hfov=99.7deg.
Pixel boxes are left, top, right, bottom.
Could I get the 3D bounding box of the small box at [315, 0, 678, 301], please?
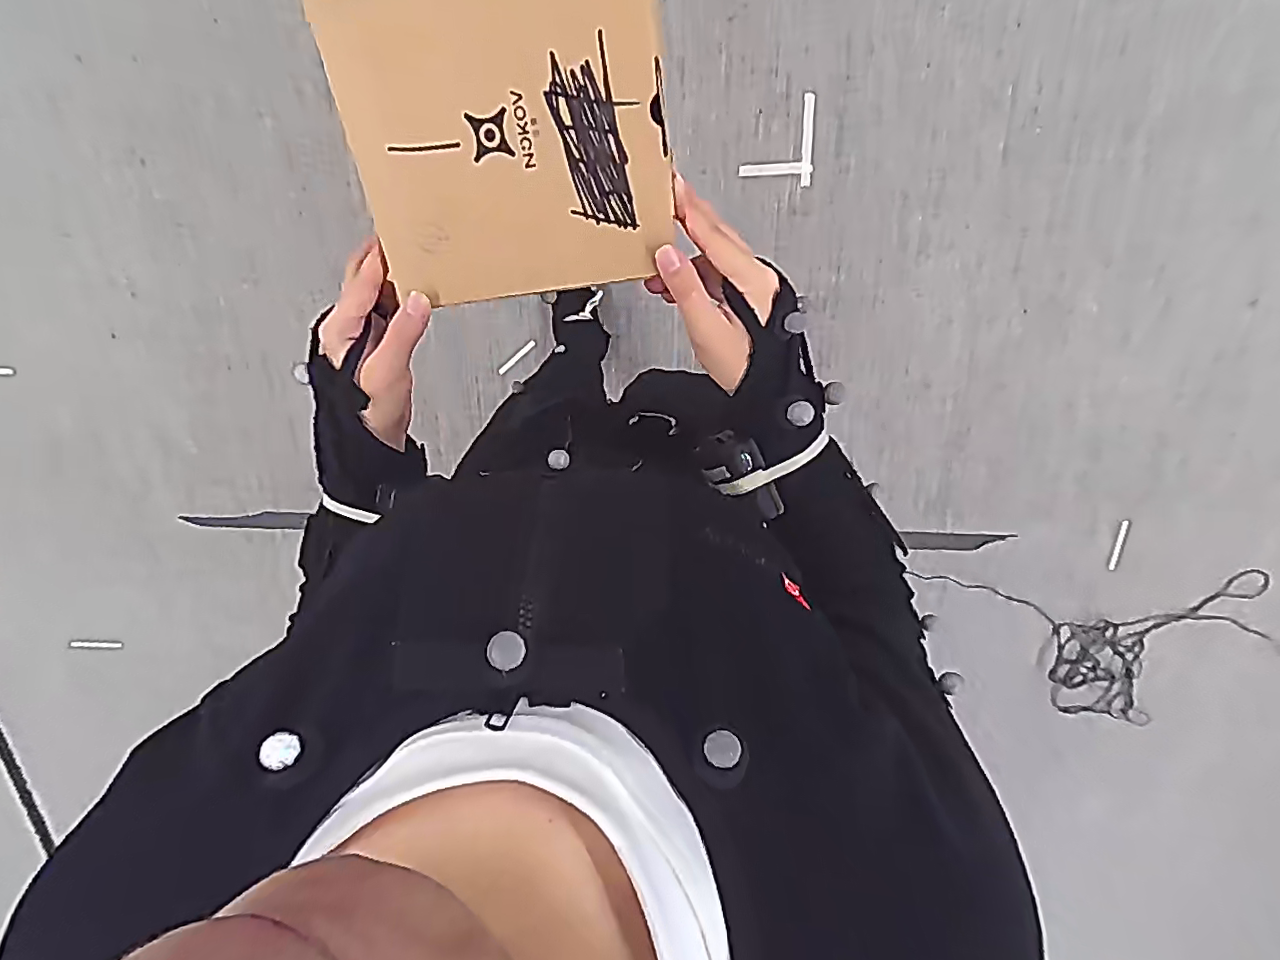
[{"bbox_3d":[-0.071,-0.230,0.373,0.179,0.176,0.168,-6,116,4],"label":"small box"}]
